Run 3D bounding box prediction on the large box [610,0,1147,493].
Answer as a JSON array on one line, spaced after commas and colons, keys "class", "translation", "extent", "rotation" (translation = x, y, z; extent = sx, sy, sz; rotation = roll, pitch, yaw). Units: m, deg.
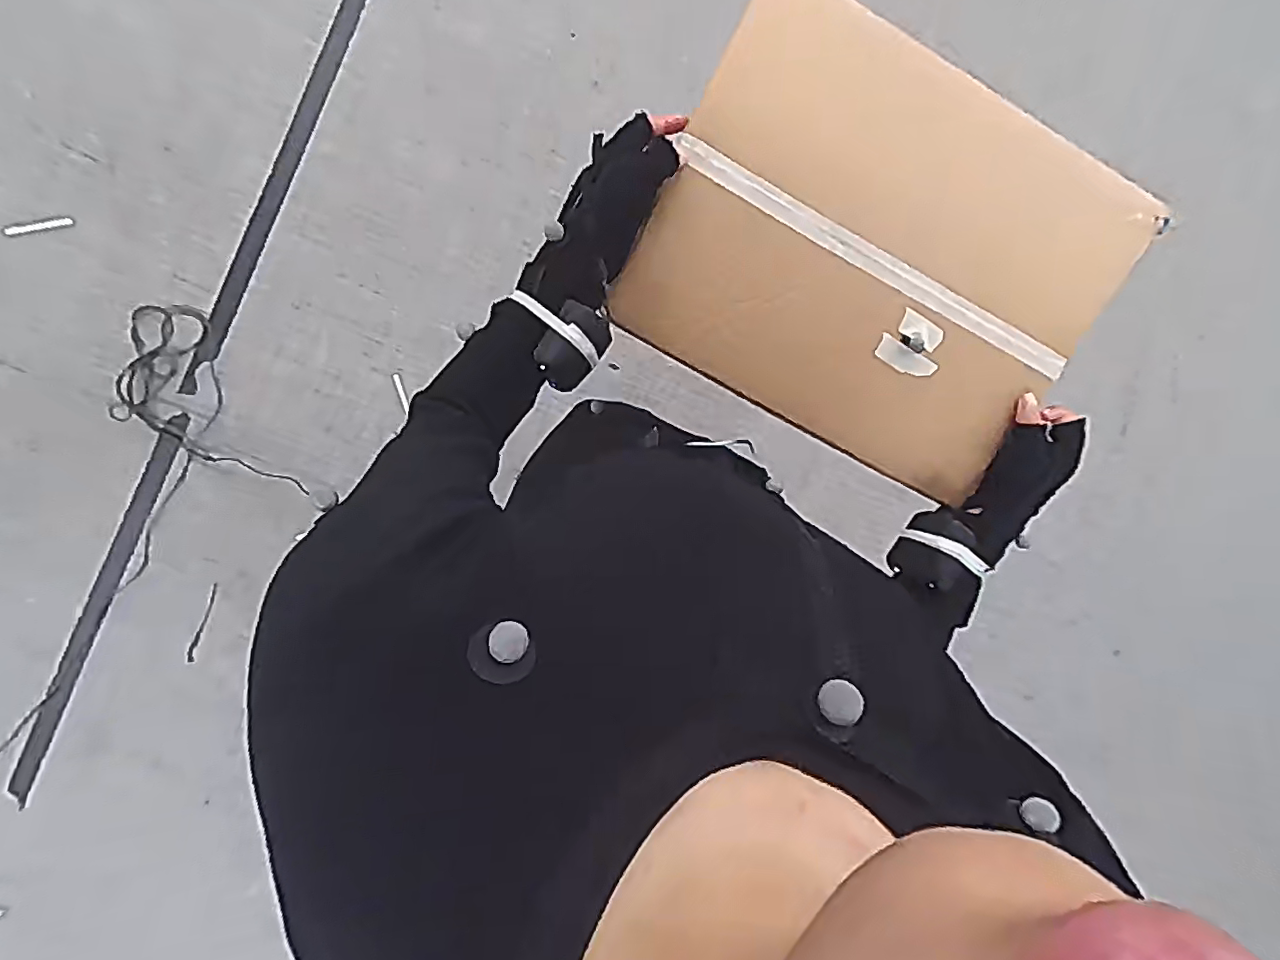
[{"class": "large box", "translation": [0.212, -0.240, 0.640], "extent": [0.408, 0.320, 0.320], "rotation": [28, 104, -7]}]
